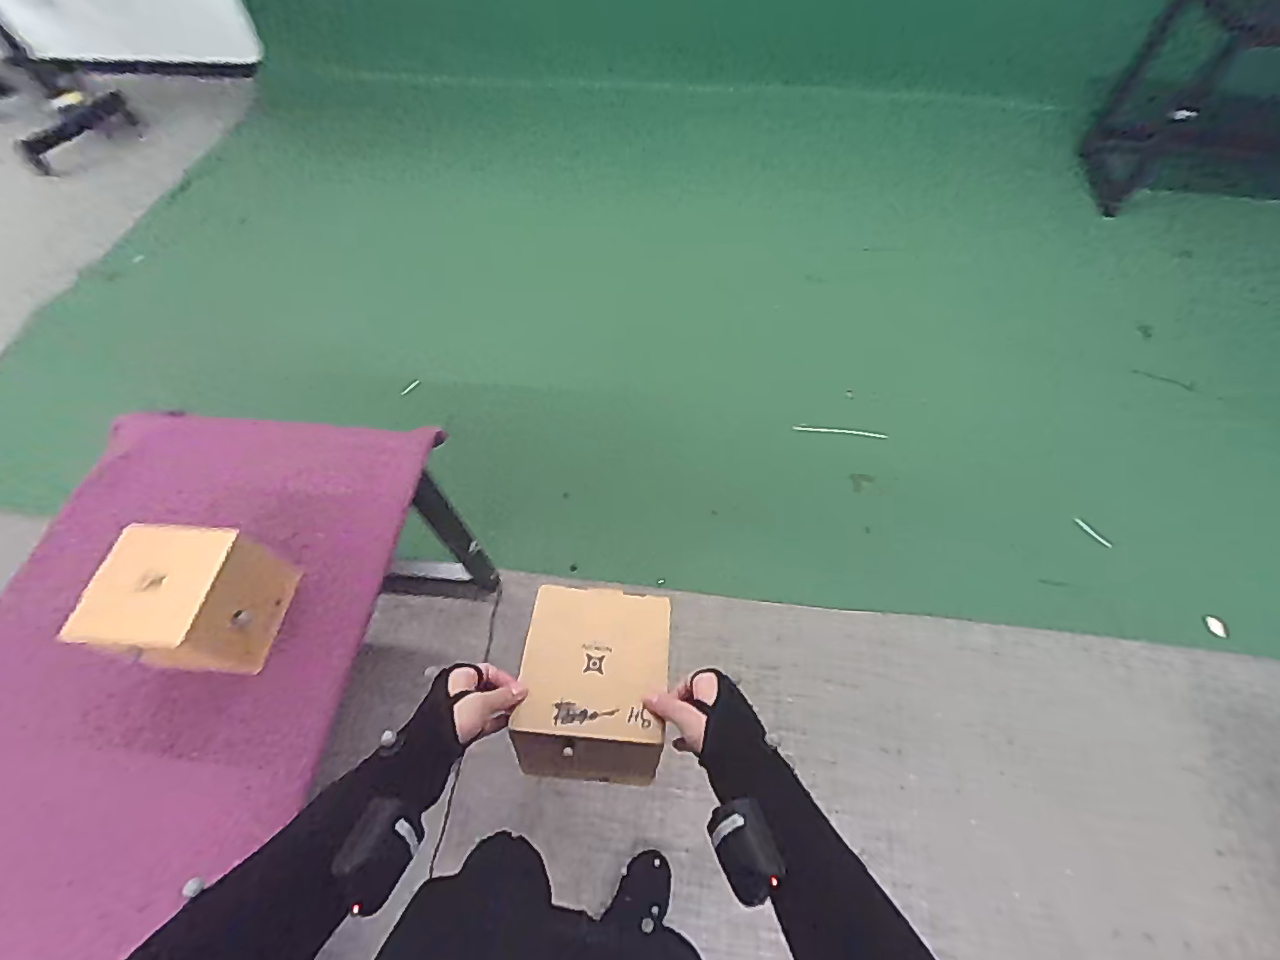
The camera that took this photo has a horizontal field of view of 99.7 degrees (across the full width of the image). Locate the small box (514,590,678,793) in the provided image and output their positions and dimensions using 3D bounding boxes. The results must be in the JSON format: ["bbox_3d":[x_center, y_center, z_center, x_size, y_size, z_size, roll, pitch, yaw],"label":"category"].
[{"bbox_3d":[-0.049,0.263,0.673,0.168,0.176,0.179,7,48,1],"label":"small box"}]

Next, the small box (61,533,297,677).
[{"bbox_3d":[-0.665,0.192,0.810,0.179,0.176,0.168,2,59,5],"label":"small box"}]
